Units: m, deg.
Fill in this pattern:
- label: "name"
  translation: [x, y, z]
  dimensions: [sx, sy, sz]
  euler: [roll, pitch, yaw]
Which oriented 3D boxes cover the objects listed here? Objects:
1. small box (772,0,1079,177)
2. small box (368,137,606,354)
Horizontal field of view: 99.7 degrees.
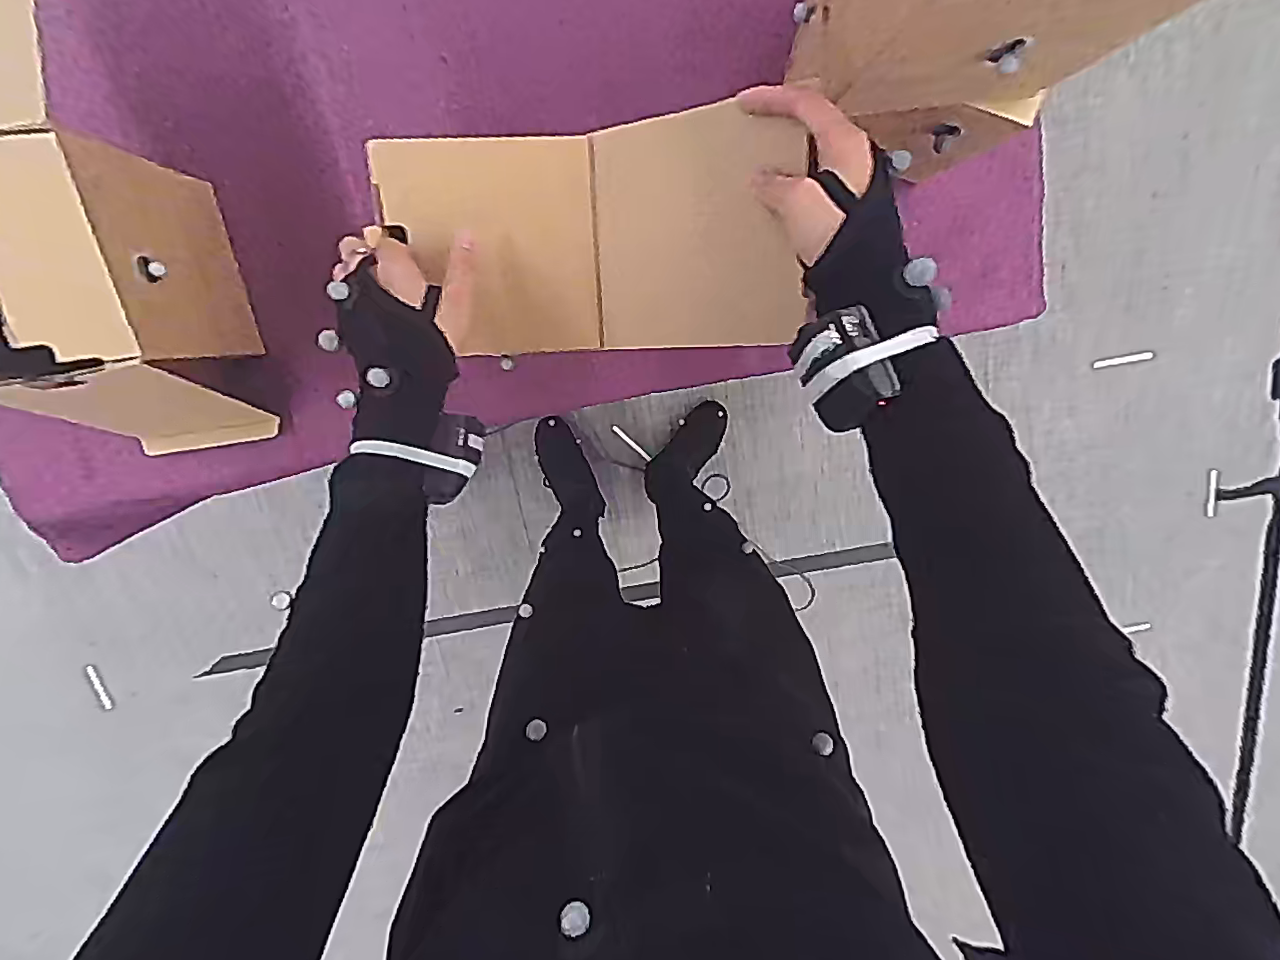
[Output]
- label: "small box"
  translation: [0.239, -0.391, 0.474]
  dimensions: [0.179, 0.176, 0.168]
  euler: [14, 104, -5]
- label: "small box"
  translation: [-0.124, -0.205, 0.514]
  dimensions: [0.179, 0.176, 0.168]
  euler: [-2, 106, -2]
